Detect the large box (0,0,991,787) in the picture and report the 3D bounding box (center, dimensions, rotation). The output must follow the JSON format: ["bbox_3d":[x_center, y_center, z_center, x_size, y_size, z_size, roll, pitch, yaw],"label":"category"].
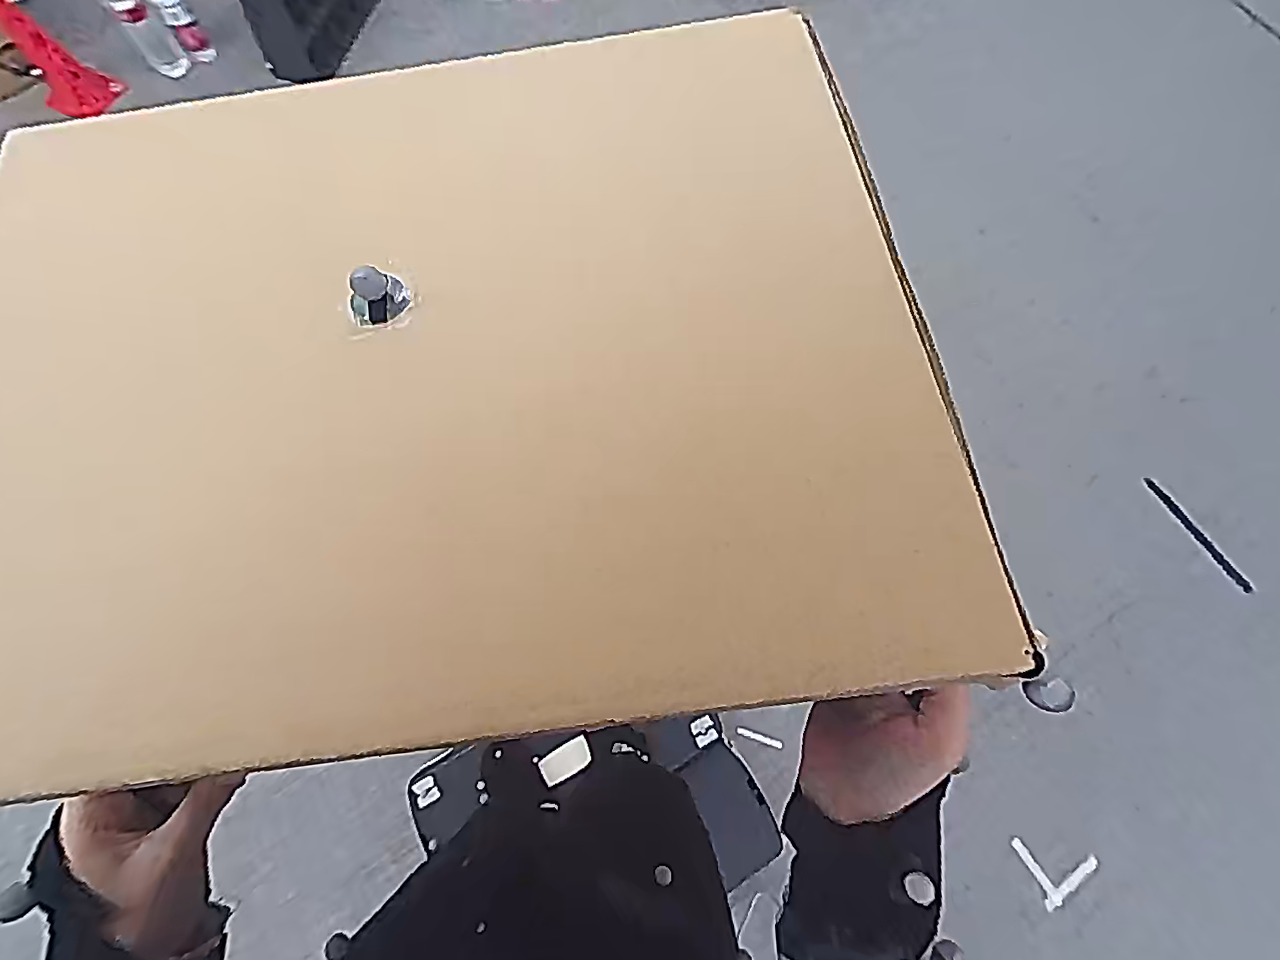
[{"bbox_3d":[-0.099,-0.015,0.354,0.408,0.320,0.320,-9,71,2],"label":"large box"}]

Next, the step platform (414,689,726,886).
[{"bbox_3d":[-0.149,0.607,1.246,0.684,0.204,0.286,-24,76,-10],"label":"step platform"}]
